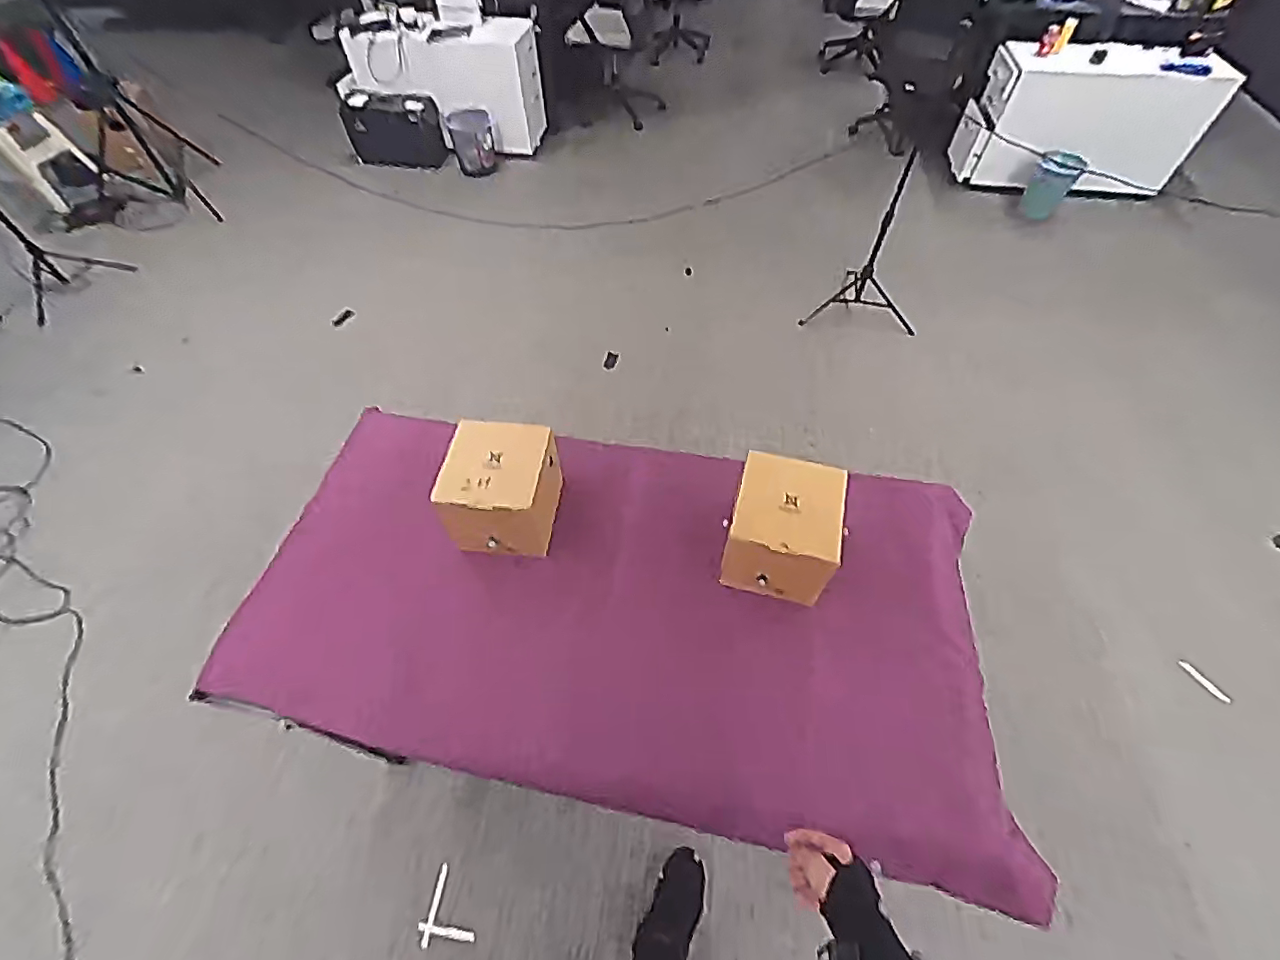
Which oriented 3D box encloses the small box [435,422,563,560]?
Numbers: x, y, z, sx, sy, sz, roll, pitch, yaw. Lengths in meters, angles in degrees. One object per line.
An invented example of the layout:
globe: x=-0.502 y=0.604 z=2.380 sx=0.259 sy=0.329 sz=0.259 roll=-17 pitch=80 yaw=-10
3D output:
small box: x=-0.239 y=0.021 z=0.970 sx=0.168 sy=0.176 sz=0.179 roll=5 pitch=55 yaw=4

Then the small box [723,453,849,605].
small box: x=0.242 y=0.086 z=0.919 sx=0.168 sy=0.176 sz=0.179 roll=13 pitch=57 yaw=10
